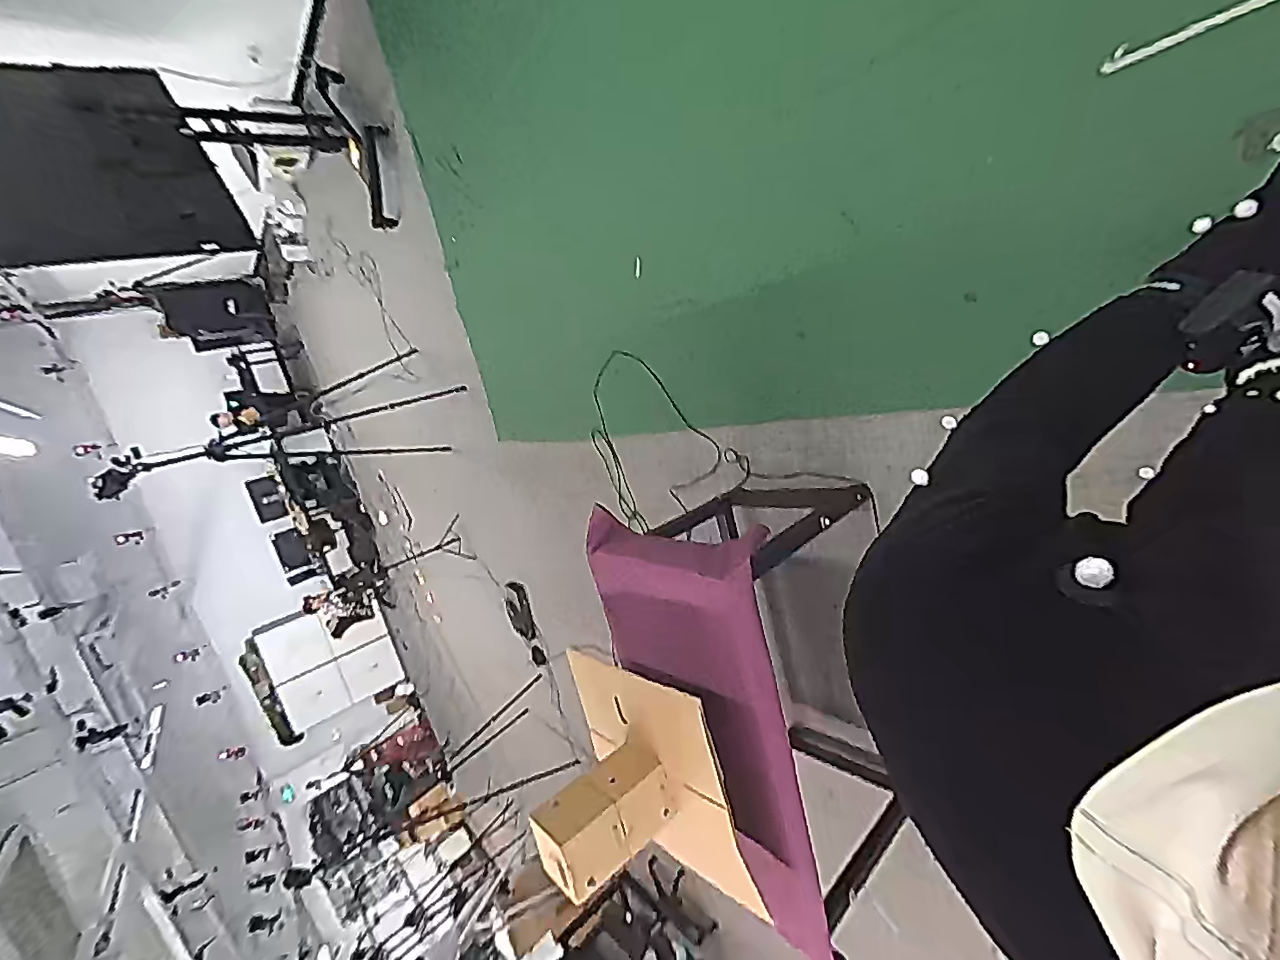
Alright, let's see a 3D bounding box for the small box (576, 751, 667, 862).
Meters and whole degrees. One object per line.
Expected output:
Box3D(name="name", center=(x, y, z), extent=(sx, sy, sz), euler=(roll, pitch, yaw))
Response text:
Box3D(name="small box", center=(-0.043, 0.881, 1.480), extent=(0.179, 0.176, 0.168), euler=(-5, 102, 52))
